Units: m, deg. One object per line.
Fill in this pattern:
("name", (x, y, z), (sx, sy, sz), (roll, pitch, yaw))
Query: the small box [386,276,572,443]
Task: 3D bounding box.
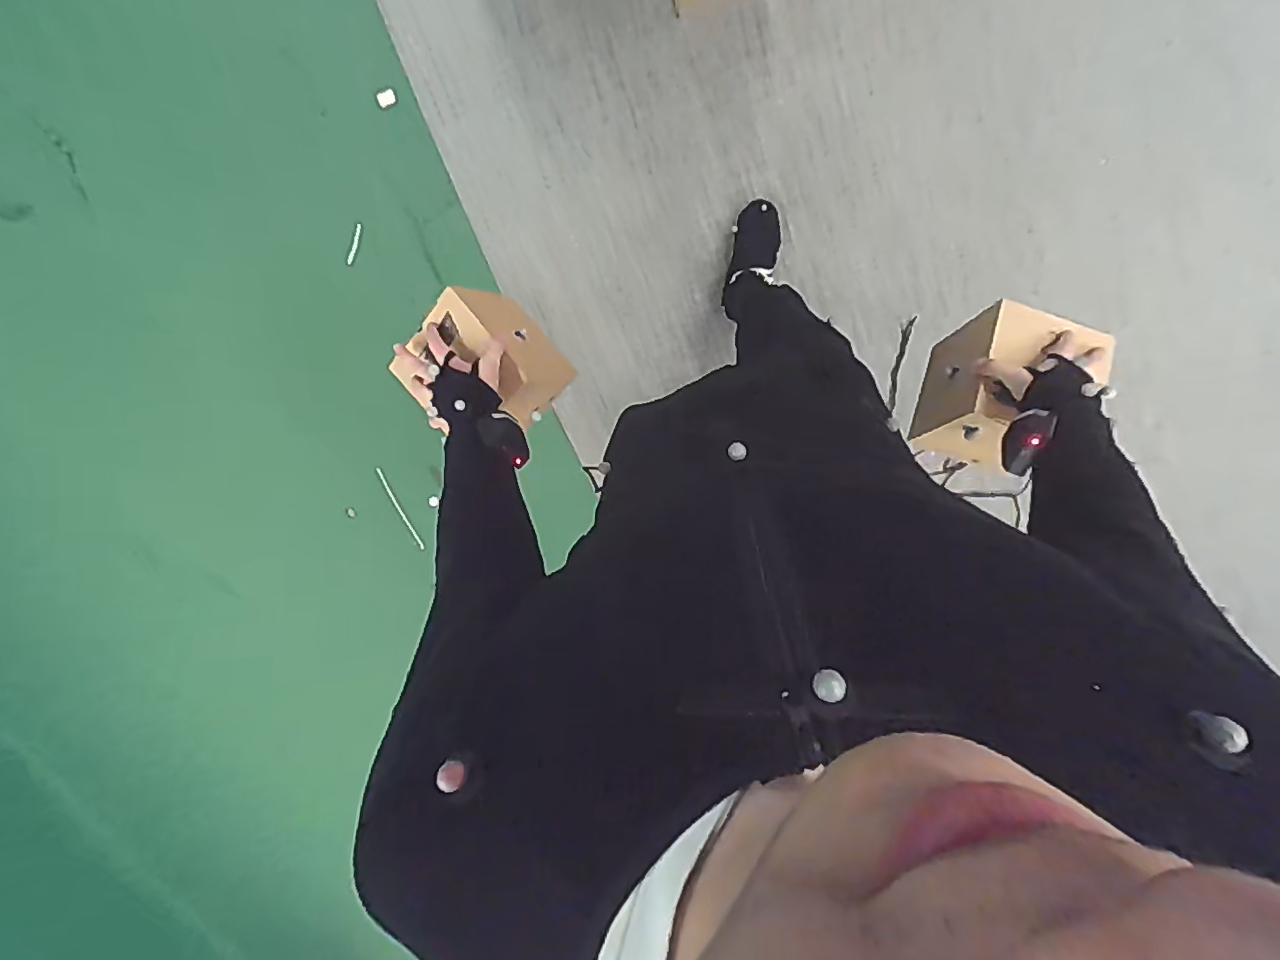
("small box", (-0.240, -0.182, 0.838), (0.168, 0.176, 0.179), (-42, 88, 23))
